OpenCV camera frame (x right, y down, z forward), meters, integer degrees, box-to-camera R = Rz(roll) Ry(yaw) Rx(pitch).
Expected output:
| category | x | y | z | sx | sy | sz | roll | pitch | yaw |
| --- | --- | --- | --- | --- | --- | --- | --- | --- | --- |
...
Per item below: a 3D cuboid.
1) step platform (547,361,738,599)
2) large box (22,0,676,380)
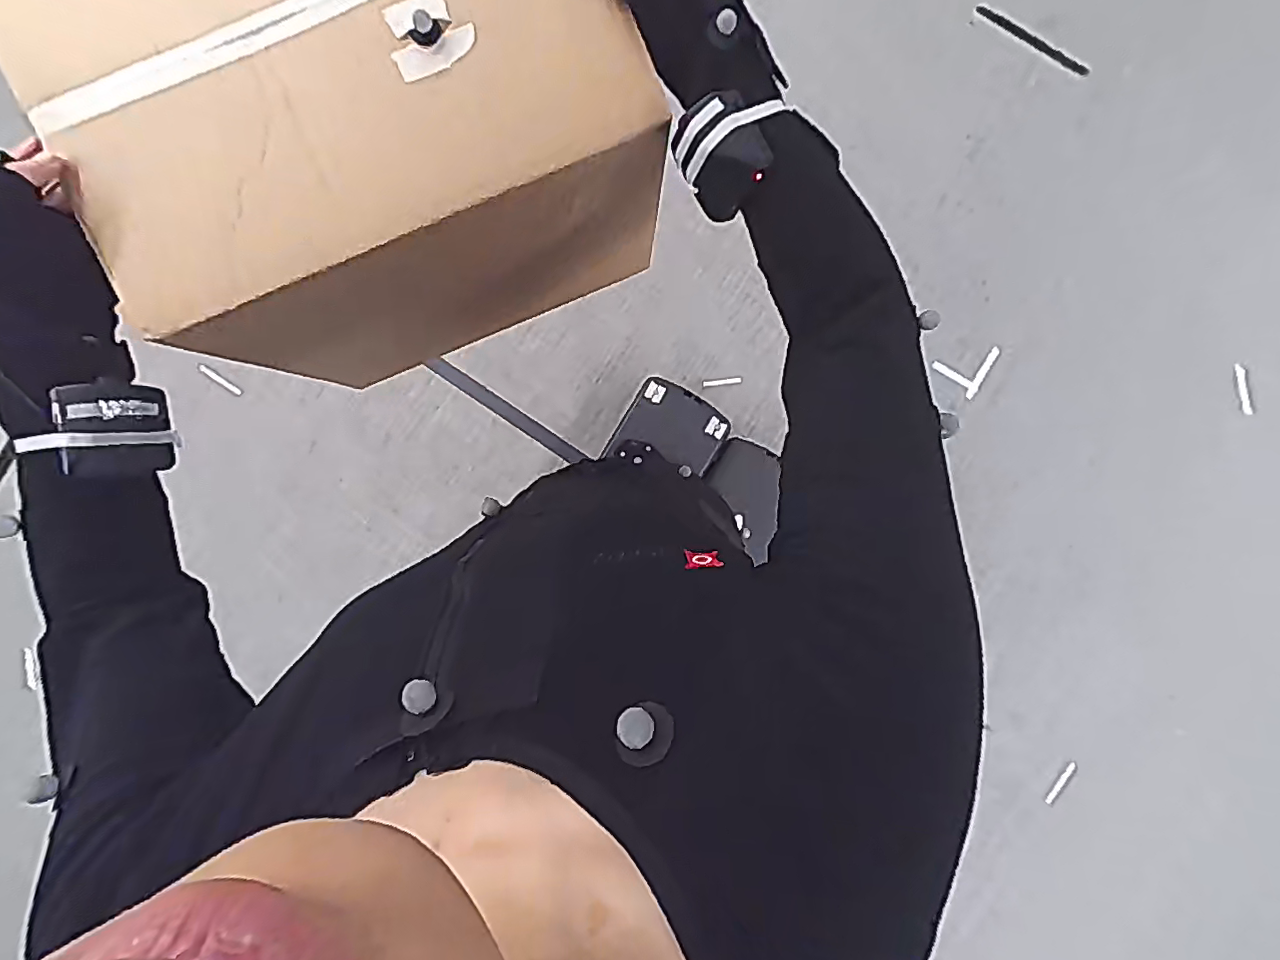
| category | x | y | z | sx | sy | sz | roll | pitch | yaw |
| --- | --- | --- | --- | --- | --- | --- | --- | --- | --- |
| step platform | 0.006 | 0.000 | 1.581 | 0.286 | 0.204 | 0.684 | 30 | 90 | 0 |
| large box | -0.218 | -0.334 | 0.532 | 0.408 | 0.320 | 0.320 | -23 | 94 | -1 |
